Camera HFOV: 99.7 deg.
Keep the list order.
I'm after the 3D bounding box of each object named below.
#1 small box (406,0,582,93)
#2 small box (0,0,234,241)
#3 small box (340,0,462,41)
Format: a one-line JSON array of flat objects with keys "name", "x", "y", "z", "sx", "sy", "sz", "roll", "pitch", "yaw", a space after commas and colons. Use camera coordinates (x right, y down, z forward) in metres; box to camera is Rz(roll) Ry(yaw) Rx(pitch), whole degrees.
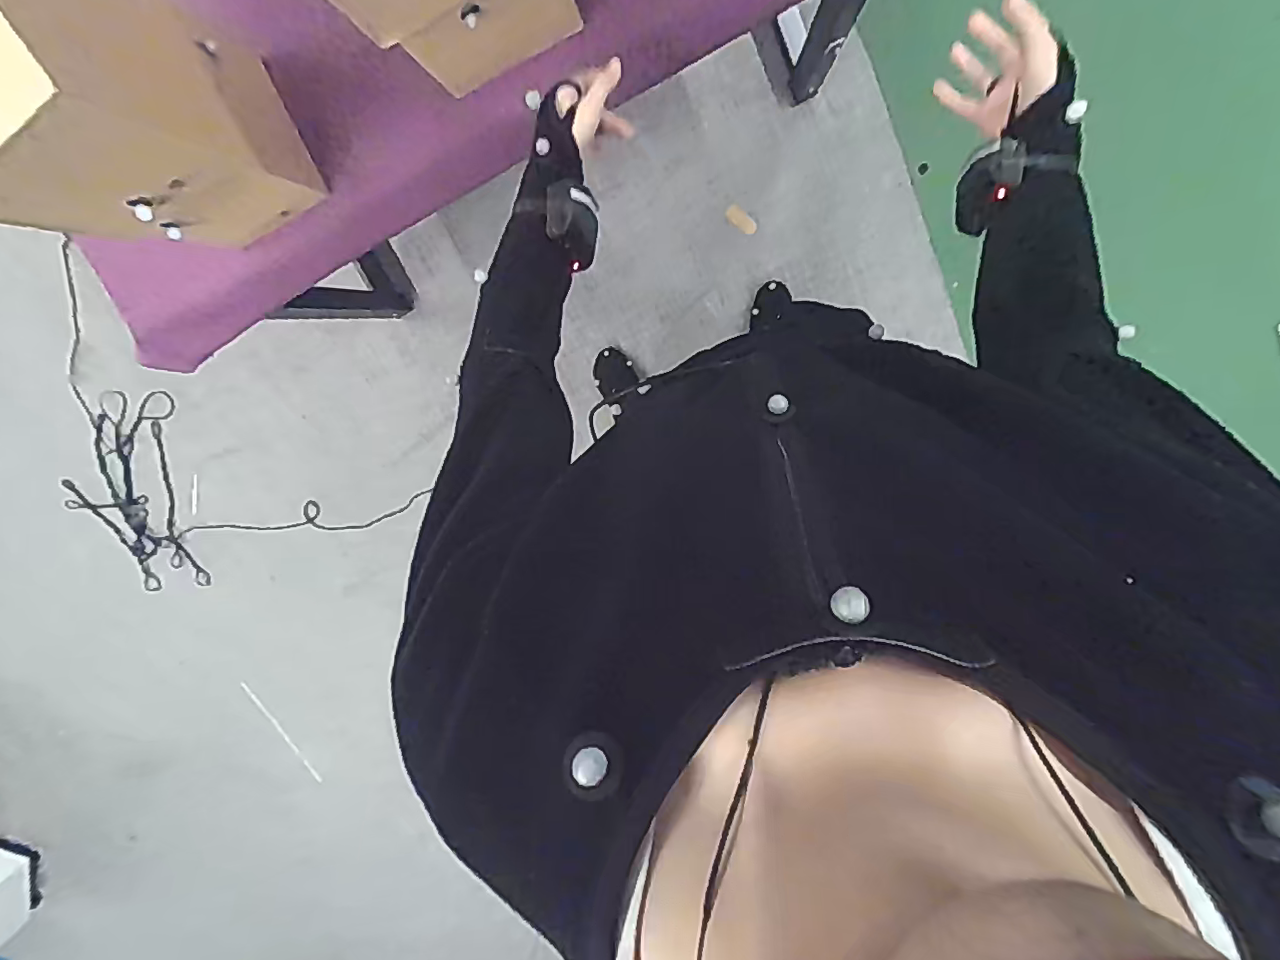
[{"name": "small box", "x": -0.180, "y": -0.543, "z": 0.550, "sx": 0.179, "sy": 0.176, "sz": 0.168, "roll": -21, "pitch": 102, "yaw": 11}, {"name": "small box", "x": -0.523, "y": -0.339, "z": 0.472, "sx": 0.168, "sy": 0.176, "sz": 0.179, "roll": -27, "pitch": 101, "yaw": 13}, {"name": "small box", "x": -0.200, "y": -0.483, "z": 0.398, "sx": 0.179, "sy": 0.176, "sz": 0.168, "roll": -22, "pitch": 102, "yaw": 12}]
